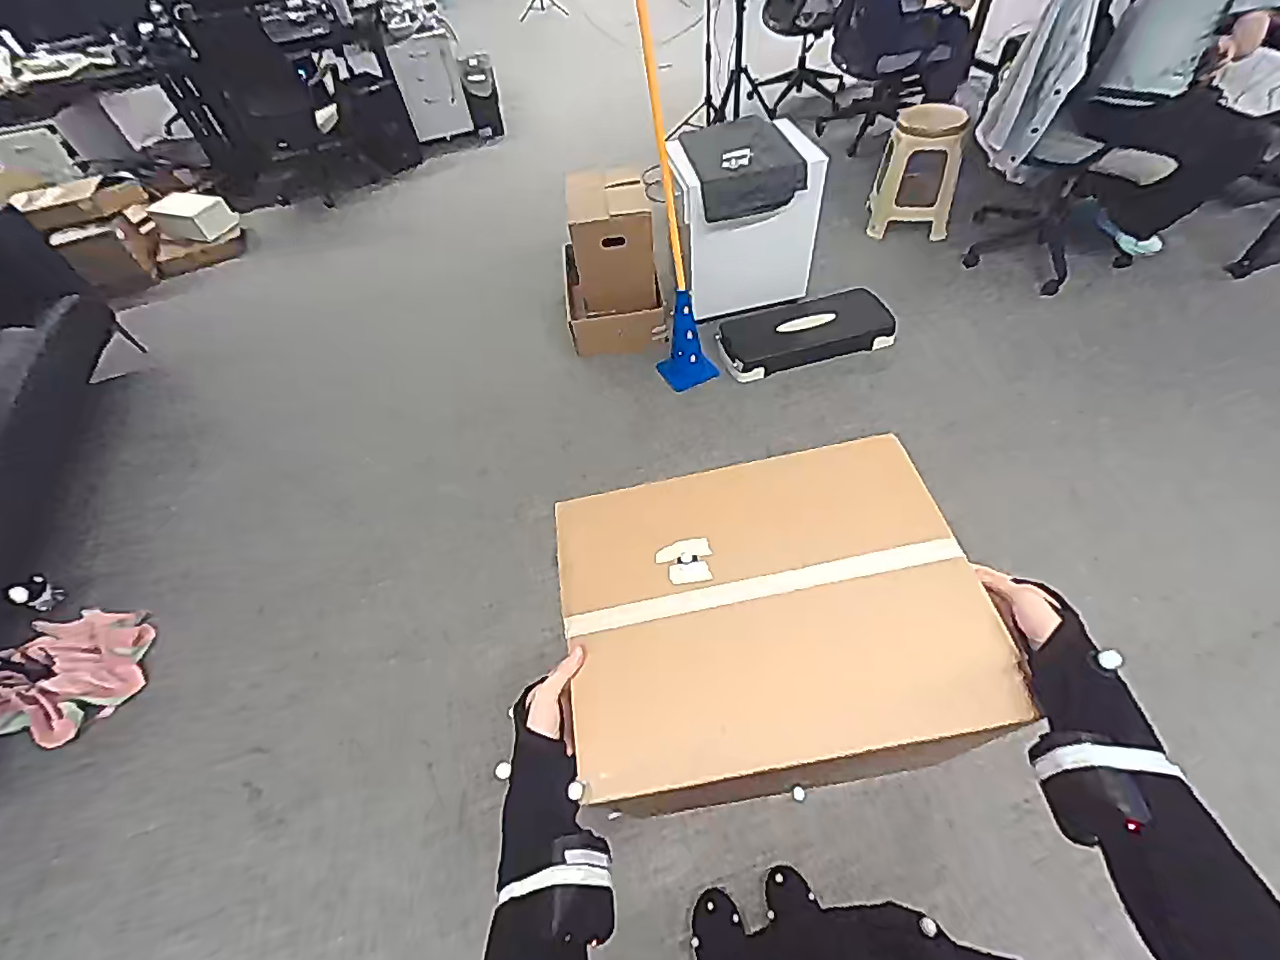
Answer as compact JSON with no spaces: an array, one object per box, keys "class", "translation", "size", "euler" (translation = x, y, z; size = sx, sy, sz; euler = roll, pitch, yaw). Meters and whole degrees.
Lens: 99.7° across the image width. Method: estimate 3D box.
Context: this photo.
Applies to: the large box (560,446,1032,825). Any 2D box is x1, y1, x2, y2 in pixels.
[{"class":"large box","translation":[0.147,0.208,0.674],"size":[0.408,0.320,0.320],"euler":[-13,53,2]}]
